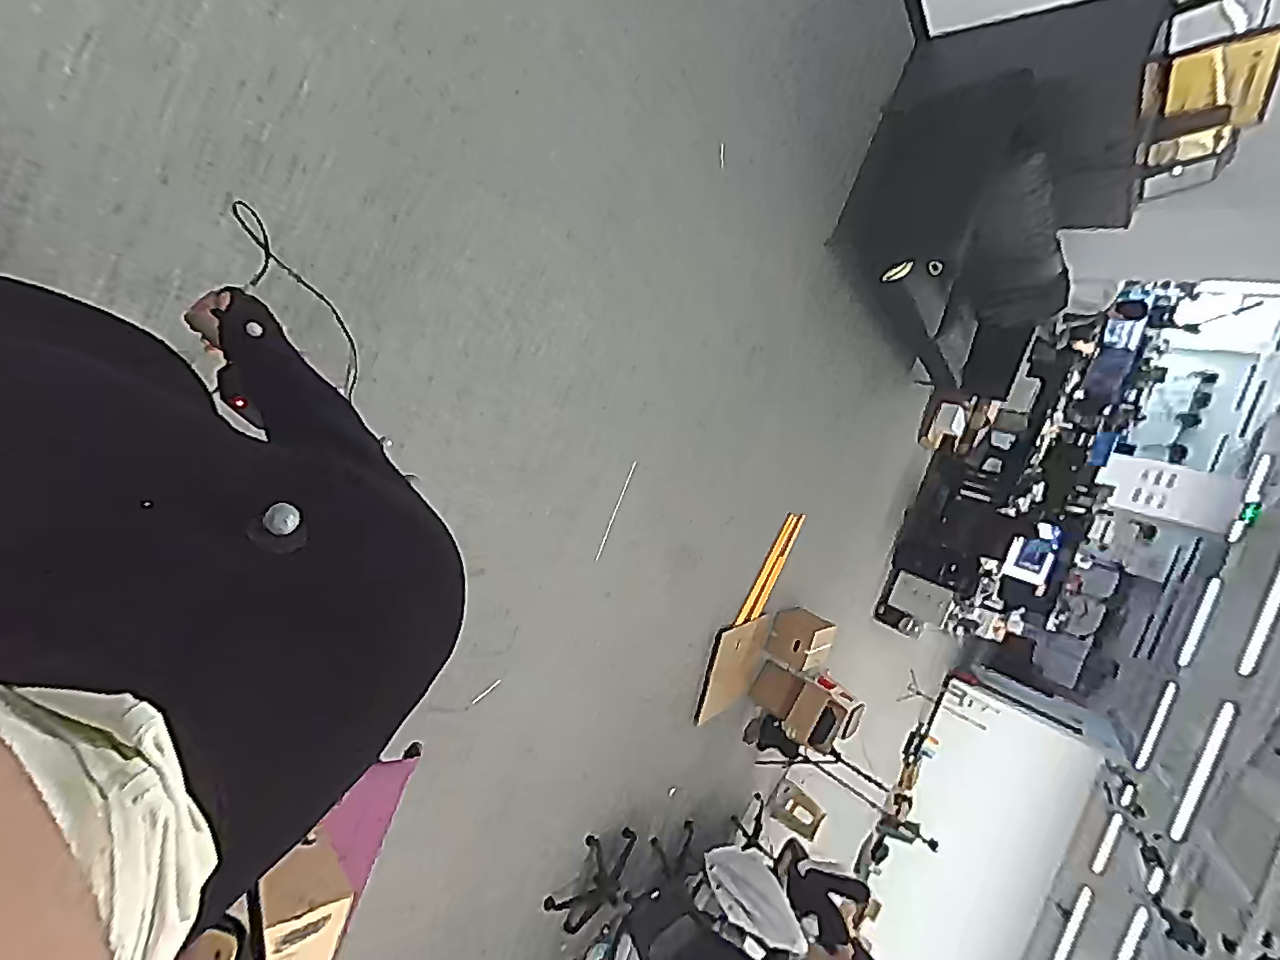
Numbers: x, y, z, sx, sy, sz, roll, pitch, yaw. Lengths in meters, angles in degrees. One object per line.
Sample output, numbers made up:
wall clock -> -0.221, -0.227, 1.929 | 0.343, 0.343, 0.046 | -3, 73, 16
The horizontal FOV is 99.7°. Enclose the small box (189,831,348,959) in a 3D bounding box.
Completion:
small box -> -0.627, 0.731, 0.908 | 0.168, 0.176, 0.179 | 16, 98, -48

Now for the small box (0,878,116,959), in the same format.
small box -> -0.810, 0.673, 0.695 | 0.168, 0.176, 0.179 | 20, 92, -49
